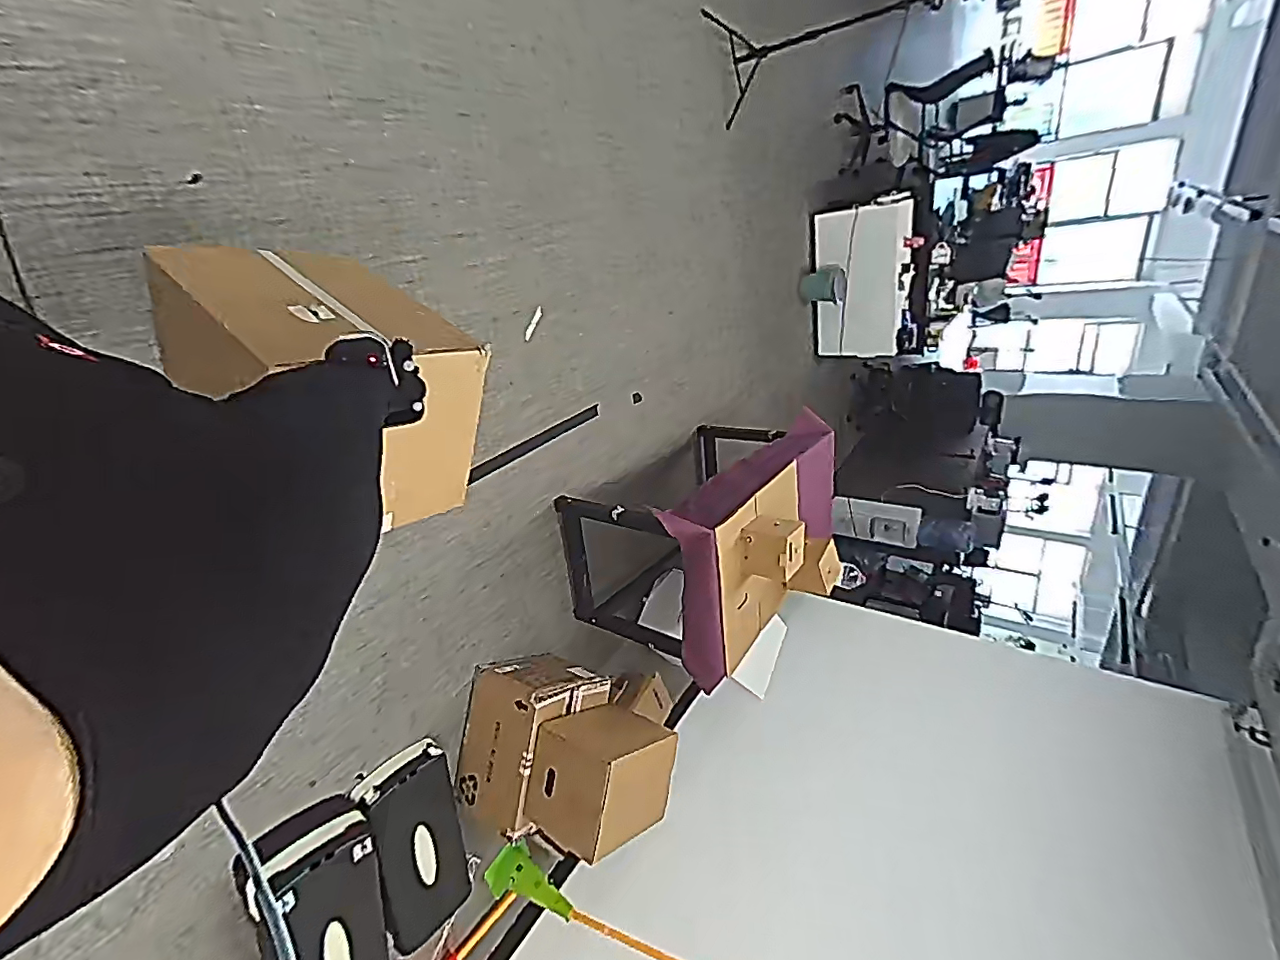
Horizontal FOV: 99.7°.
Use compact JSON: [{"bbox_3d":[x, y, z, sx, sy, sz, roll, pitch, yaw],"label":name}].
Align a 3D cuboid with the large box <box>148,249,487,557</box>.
[{"bbox_3d":[-0.529,-0.146,0.902,0.320,0.408,0.320,-24,143,-50],"label":"large box"}]
